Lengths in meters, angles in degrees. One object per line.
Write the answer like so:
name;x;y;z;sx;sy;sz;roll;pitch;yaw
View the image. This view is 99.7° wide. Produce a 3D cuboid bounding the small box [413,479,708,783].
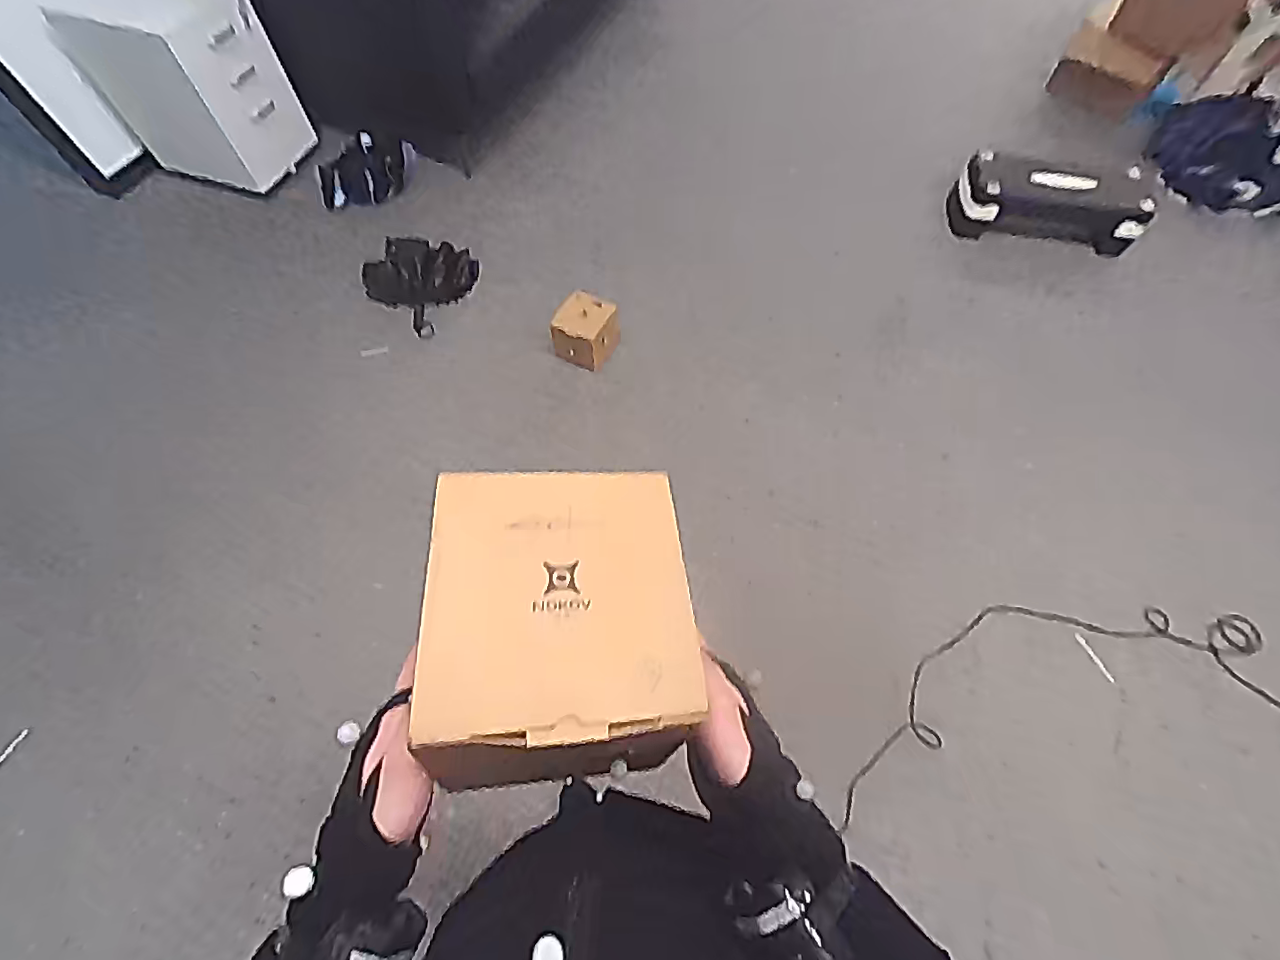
small box;-0.061;0.117;0.408;0.168;0.176;0.179;0;53;-12
